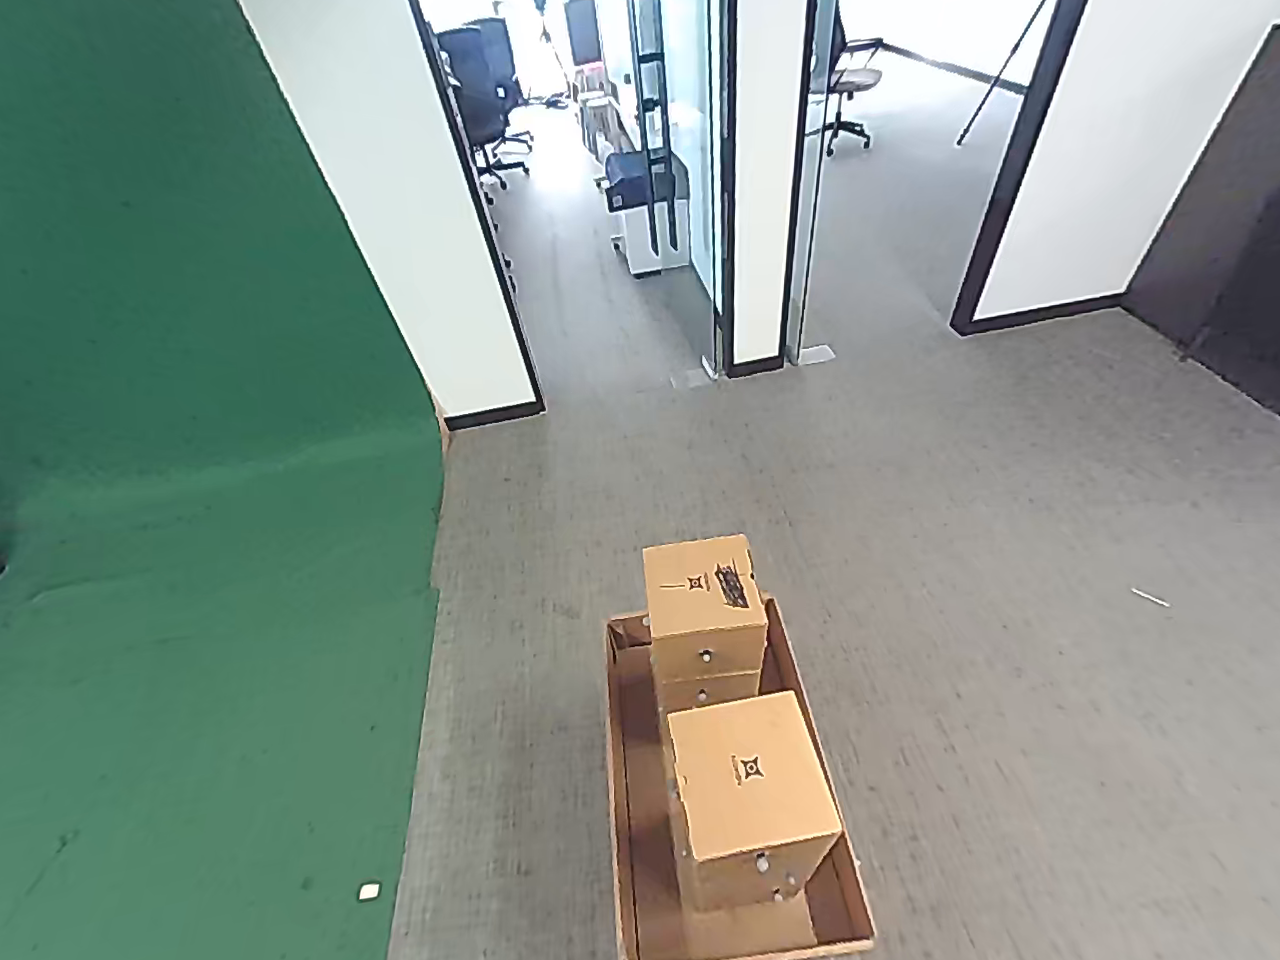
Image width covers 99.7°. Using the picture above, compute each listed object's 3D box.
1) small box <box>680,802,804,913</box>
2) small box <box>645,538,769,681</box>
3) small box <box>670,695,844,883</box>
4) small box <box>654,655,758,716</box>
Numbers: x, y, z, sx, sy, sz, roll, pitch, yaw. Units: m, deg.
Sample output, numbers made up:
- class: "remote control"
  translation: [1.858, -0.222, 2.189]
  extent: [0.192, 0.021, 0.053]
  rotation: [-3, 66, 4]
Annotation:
- class: "small box"
  translation: [0.167, 0.637, 0.948]
  extent: [0.179, 0.176, 0.168]
  rotation: [-8, 45, -1]
- class: "small box"
  translation: [0.106, 0.220, 0.905]
  extent: [0.179, 0.176, 0.168]
  rotation: [-7, 47, 1]
- class: "small box"
  translation: [0.141, 0.409, 0.715]
  extent: [0.179, 0.176, 0.168]
  rotation: [-10, 46, -2]
- class: "small box"
  translation: [0.120, 0.332, 1.025]
  extent: [0.179, 0.176, 0.168]
  rotation: [-7, 48, 2]
